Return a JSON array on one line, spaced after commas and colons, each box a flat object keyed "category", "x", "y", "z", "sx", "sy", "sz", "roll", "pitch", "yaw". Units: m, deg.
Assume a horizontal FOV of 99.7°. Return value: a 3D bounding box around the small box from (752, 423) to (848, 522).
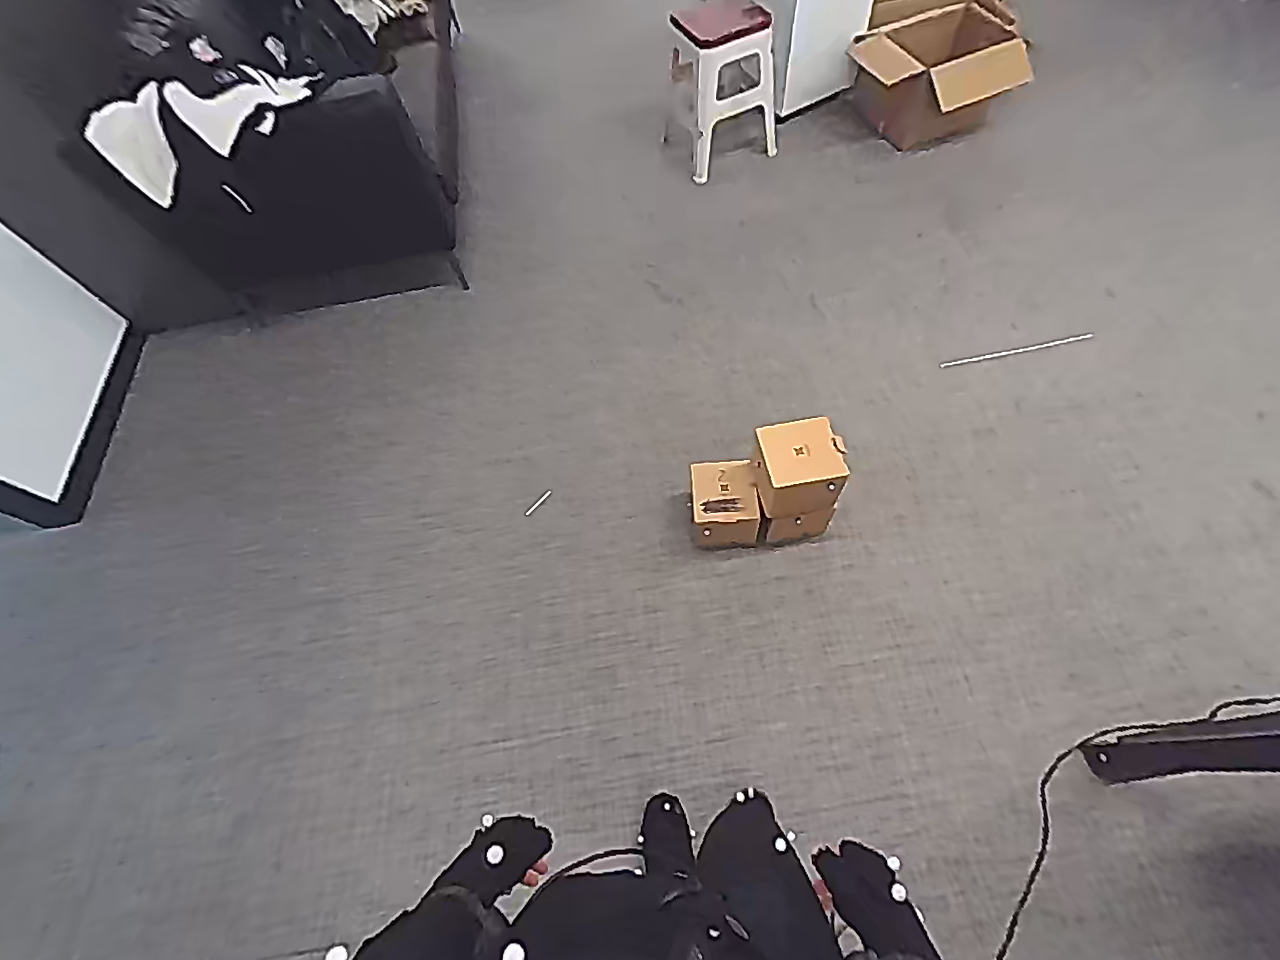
[{"category": "small box", "x": 0.377, "y": -0.013, "z": 1.316, "sx": 0.179, "sy": 0.176, "sz": 0.168, "roll": -11, "pitch": 61, "yaw": 0}]
